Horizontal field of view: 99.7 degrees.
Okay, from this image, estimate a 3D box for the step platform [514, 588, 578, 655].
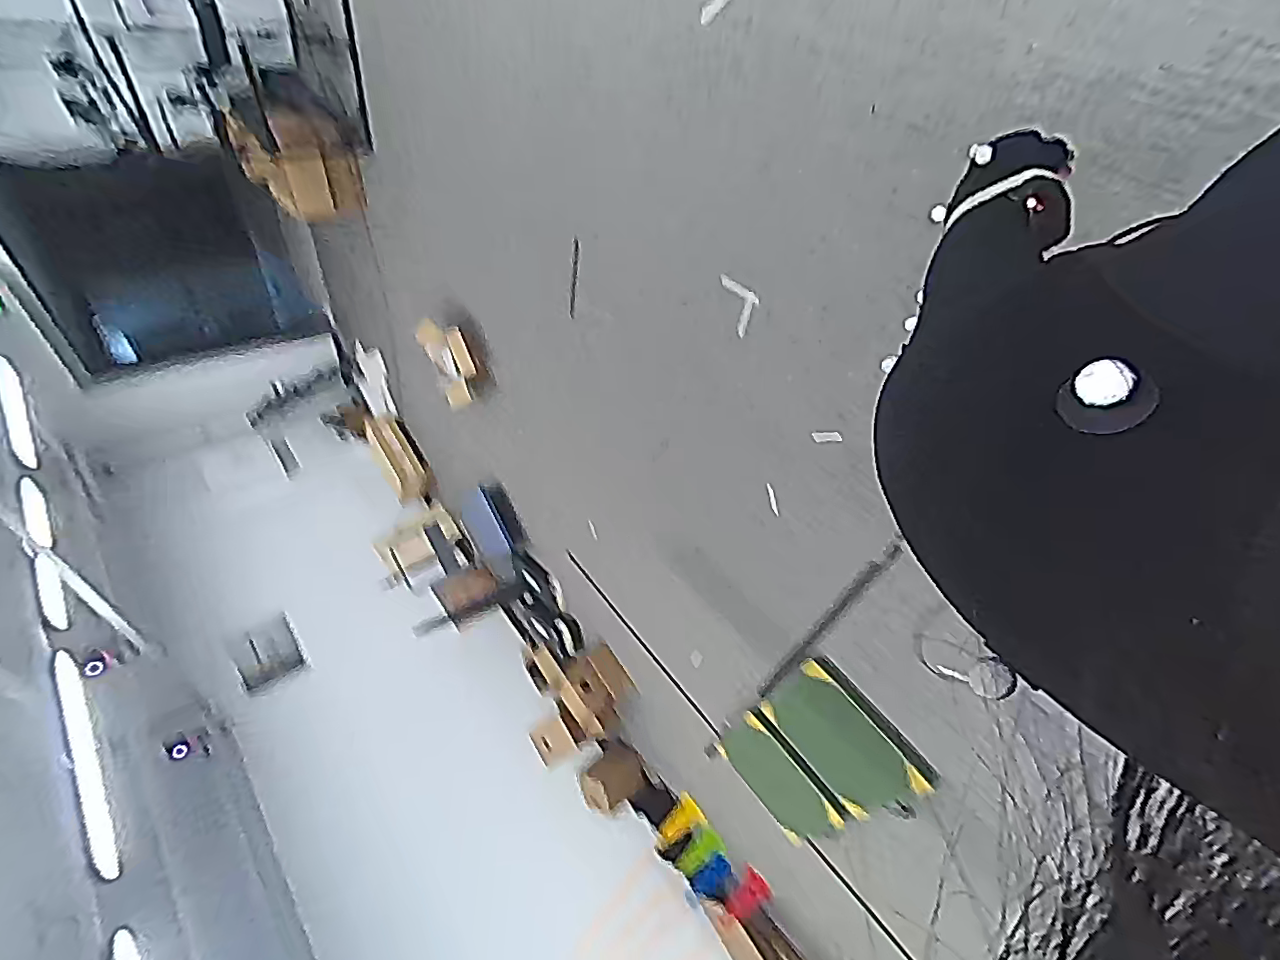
[{"bbox_3d":[-0.800,1.181,4.527,0.684,0.204,0.286,20,127,46],"label":"step platform"}]
